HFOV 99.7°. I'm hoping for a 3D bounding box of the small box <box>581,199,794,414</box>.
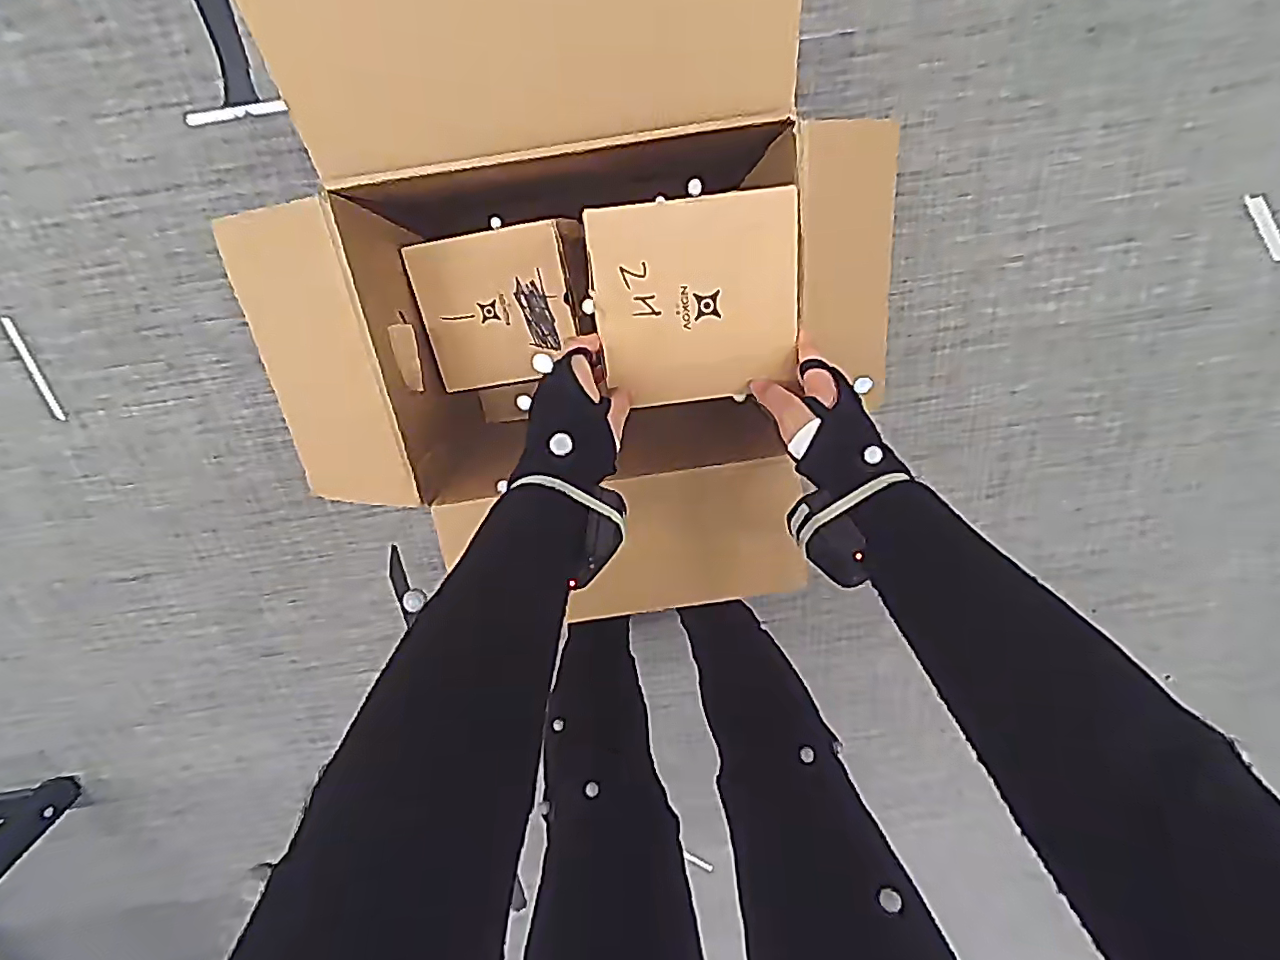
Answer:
[{"bbox_3d":[0.041,-0.175,0.536,0.179,0.176,0.168,-7,113,0],"label":"small box"}]
